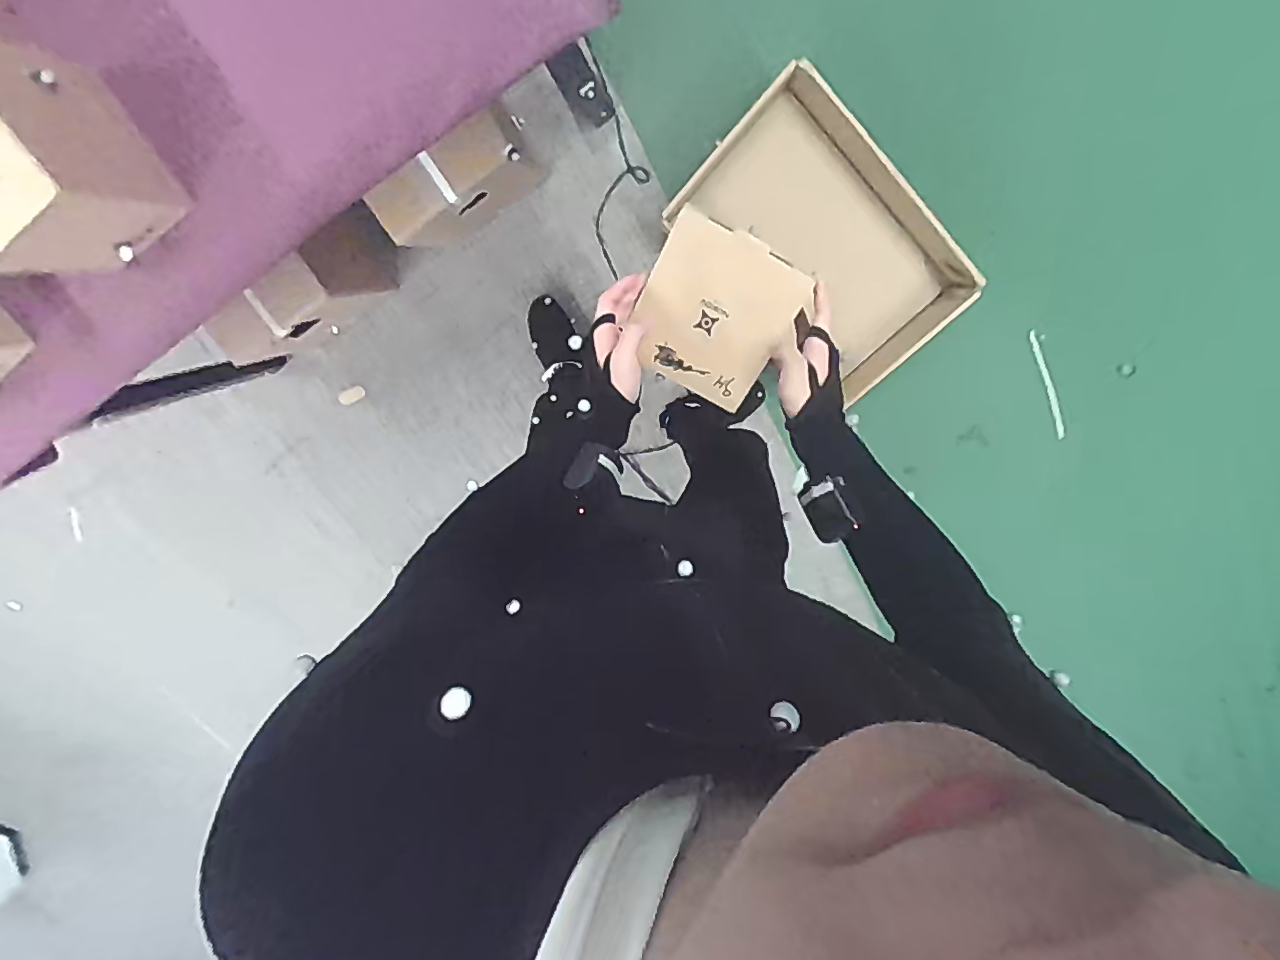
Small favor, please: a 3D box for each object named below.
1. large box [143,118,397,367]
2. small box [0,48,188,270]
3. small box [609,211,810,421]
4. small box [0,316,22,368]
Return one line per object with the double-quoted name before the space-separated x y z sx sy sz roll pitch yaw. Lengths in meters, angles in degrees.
"large box" -0.883 -0.537 1.287 0.320 0.320 0.408 -27 106 14
"small box" -0.698 -0.359 0.625 0.168 0.176 0.179 -25 107 15
"small box" 0.083 -0.208 0.669 0.168 0.176 0.179 28 117 -3
"small box" -1.012 -0.201 0.716 0.168 0.176 0.179 -28 105 15
